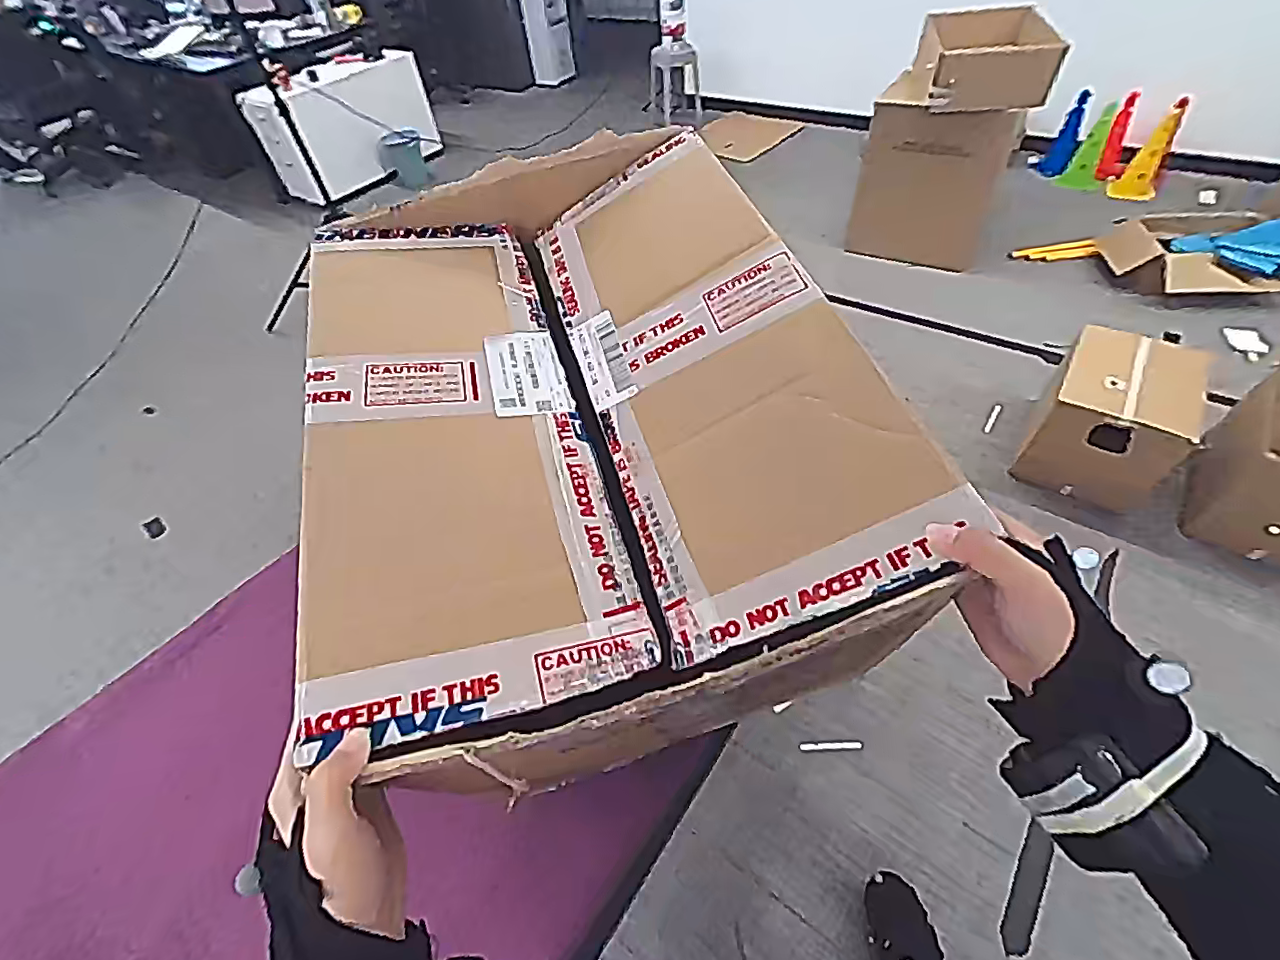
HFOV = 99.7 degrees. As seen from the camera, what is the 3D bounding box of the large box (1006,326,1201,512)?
[{"bbox_3d":[1.361,-0.187,1.606,0.320,0.320,0.408,25,58,26],"label":"large box"}]
